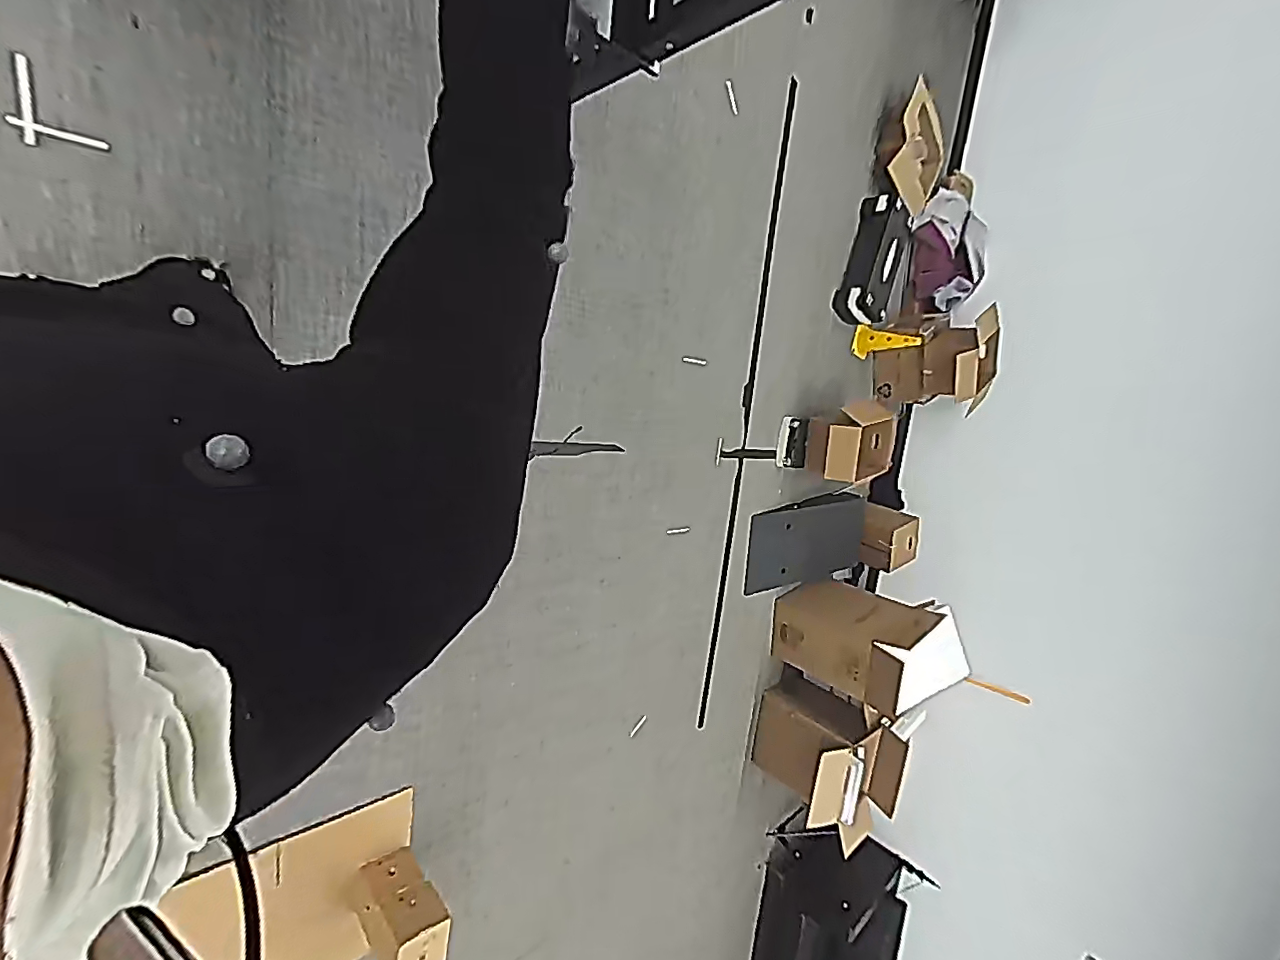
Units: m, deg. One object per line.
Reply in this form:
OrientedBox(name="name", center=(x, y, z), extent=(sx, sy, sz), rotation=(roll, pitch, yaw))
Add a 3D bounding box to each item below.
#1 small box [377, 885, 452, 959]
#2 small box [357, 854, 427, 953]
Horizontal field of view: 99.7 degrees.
OrientedBox(name="small box", center=(-0.718, 1.451, 1.712), extent=(0.168, 0.176, 0.179), rotation=(2, 100, -45))
OrientedBox(name="small box", center=(-0.837, 1.410, 1.820), extent=(0.168, 0.176, 0.179), rotation=(1, 101, -44))
